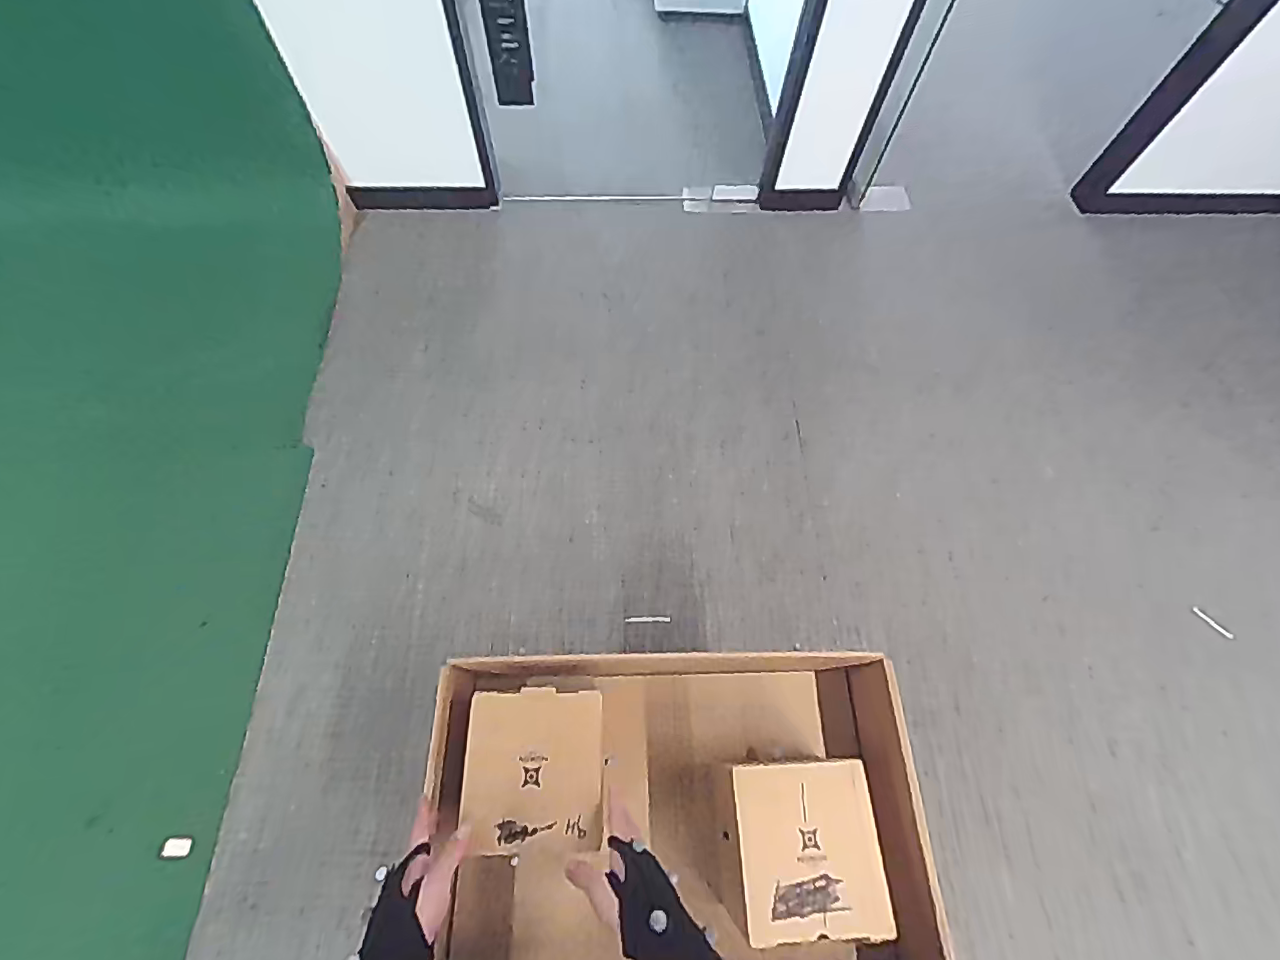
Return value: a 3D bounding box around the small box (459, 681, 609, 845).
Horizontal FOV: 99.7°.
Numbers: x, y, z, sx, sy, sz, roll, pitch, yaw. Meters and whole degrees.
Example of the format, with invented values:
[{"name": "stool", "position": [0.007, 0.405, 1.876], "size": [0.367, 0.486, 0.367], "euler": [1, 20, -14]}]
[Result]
[{"name": "small box", "position": [-0.127, 0.371, 0.722], "size": [0.168, 0.176, 0.179], "euler": [1, 65, -2]}]
